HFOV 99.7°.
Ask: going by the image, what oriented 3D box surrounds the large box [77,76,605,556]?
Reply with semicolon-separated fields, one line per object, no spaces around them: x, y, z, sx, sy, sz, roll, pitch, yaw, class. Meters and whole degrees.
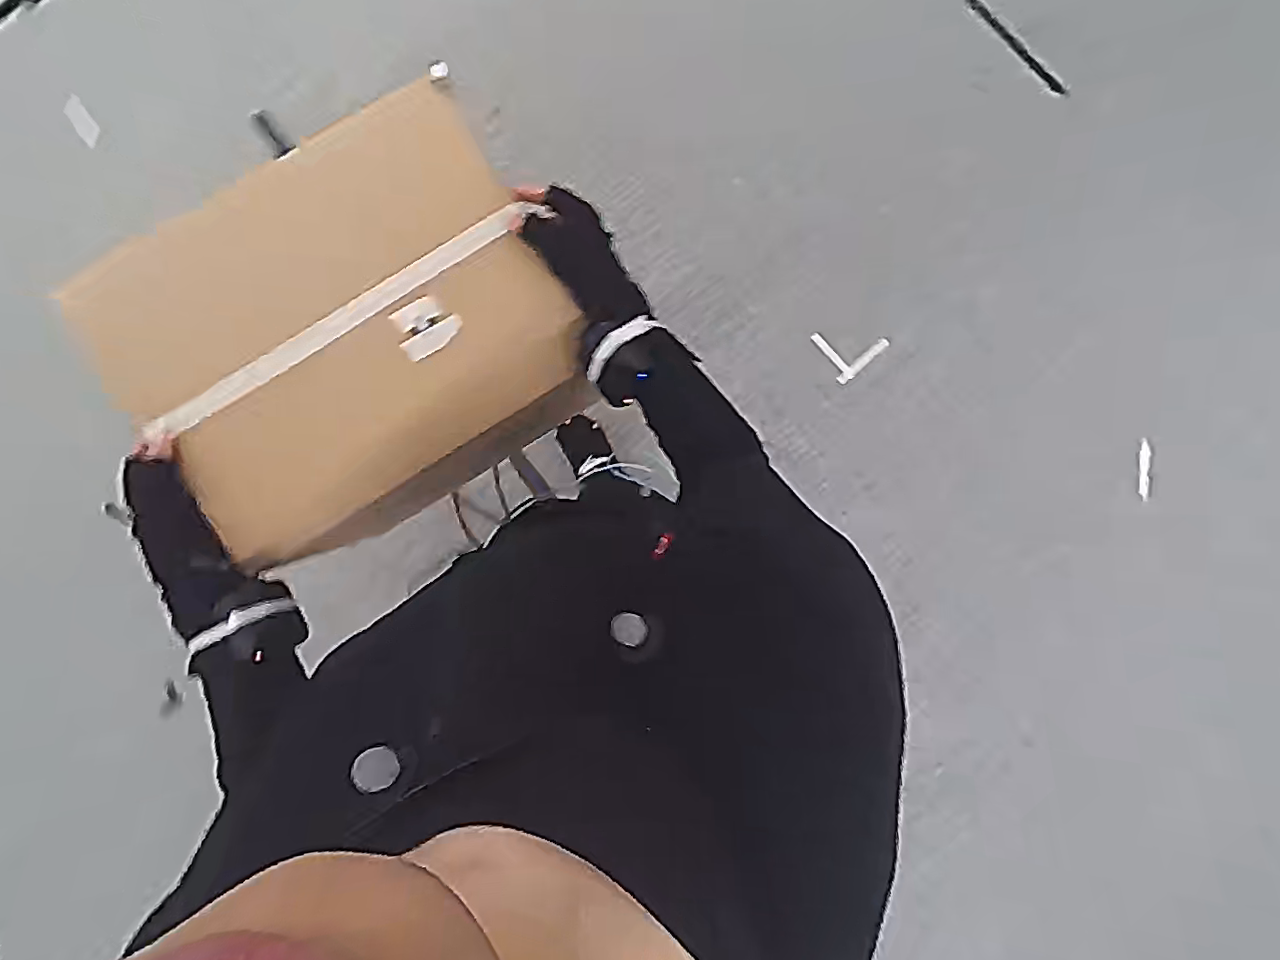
-0.293;-0.160;0.669;0.408;0.320;0.320;-33;95;-4;large box
